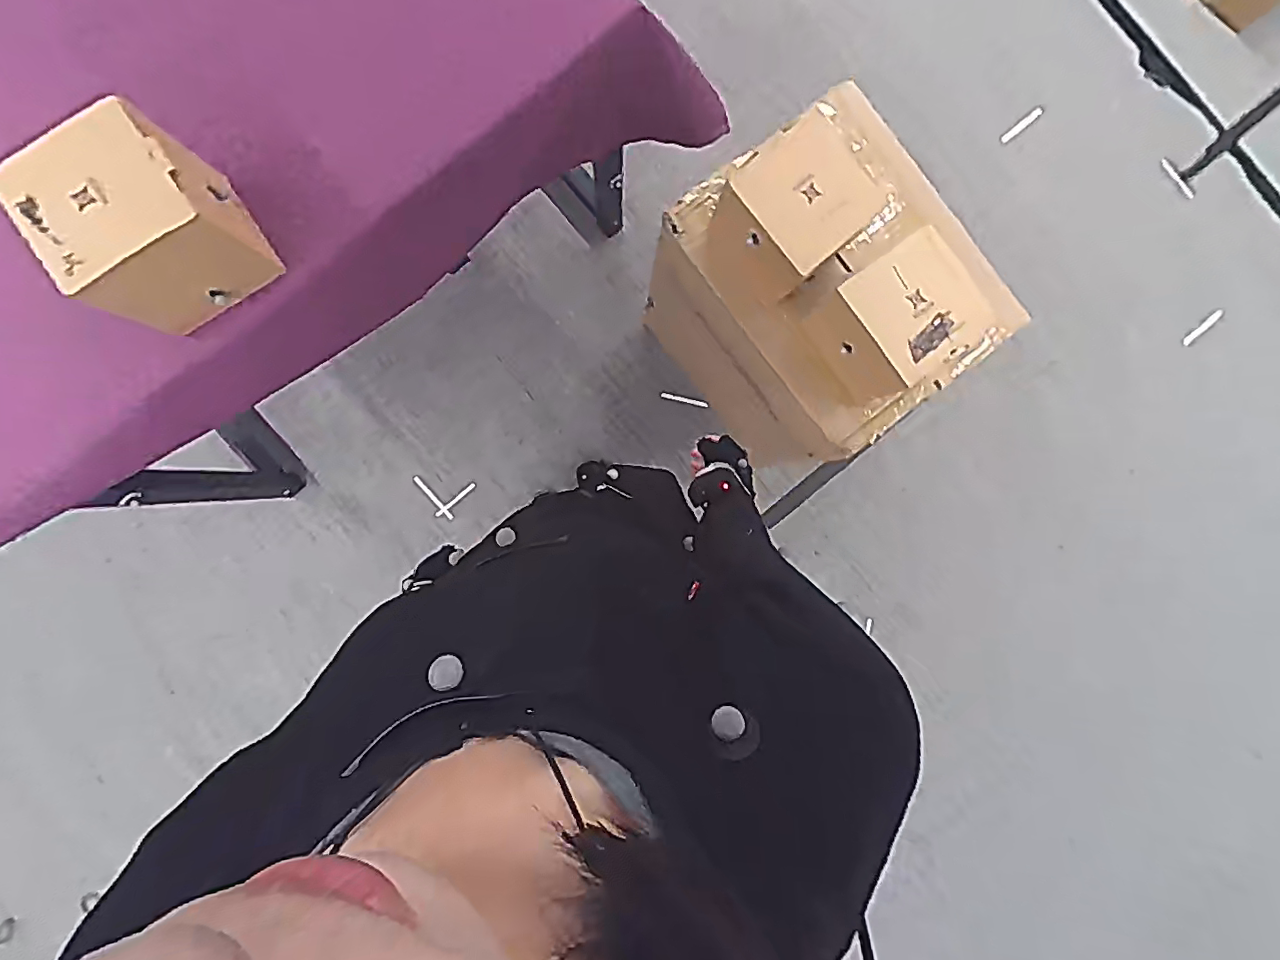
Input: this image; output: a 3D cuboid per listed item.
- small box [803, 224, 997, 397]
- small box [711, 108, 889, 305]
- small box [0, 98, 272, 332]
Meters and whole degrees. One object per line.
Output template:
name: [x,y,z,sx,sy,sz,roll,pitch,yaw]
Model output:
small box: [0.385,-0.244,0.834,0.168,0.176,0.179,-36,89,-1]
small box: [0.230,-0.403,0.831,0.168,0.176,0.179,-40,93,-1]
small box: [-0.617,-0.319,0.687,0.179,0.176,0.168,-34,90,-3]
